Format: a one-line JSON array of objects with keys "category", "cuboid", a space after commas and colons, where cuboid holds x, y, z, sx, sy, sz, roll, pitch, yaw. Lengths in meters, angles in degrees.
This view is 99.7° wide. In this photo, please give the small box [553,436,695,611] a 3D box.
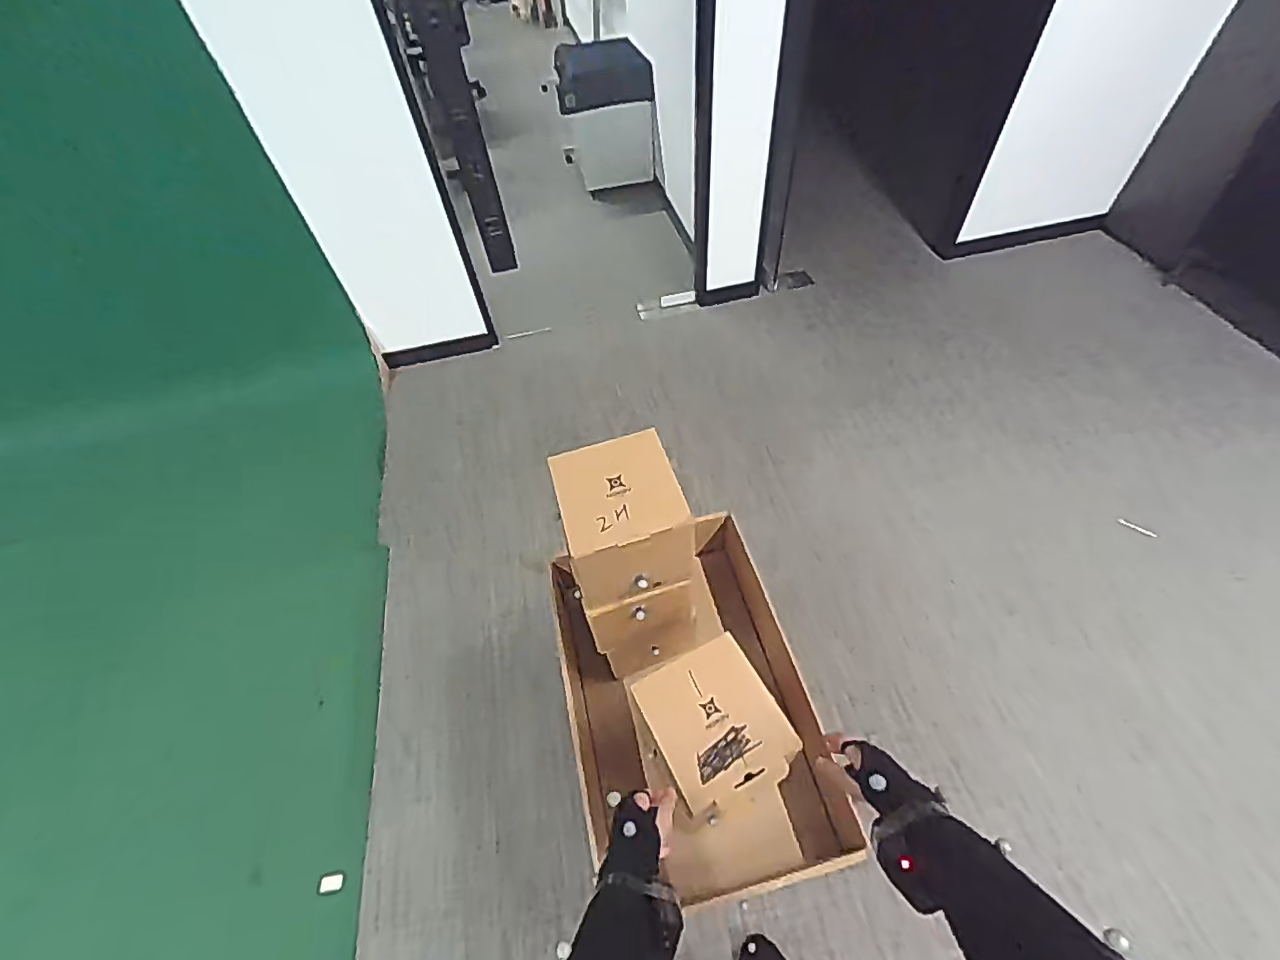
[{"category": "small box", "cuboid": [-0.022, 0.067, 0.808, 0.168, 0.176, 0.179, -16, 54, -5]}]

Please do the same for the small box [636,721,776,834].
[{"category": "small box", "cuboid": [0.109, 0.466, 0.908, 0.168, 0.176, 0.179, -23, 54, -13]}]

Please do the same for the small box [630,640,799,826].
[{"category": "small box", "cuboid": [0.100, 0.368, 0.777, 0.168, 0.176, 0.179, -23, 53, -14]}]

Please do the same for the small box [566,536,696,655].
[{"category": "small box", "cuboid": [-0.013, 0.176, 0.933, 0.179, 0.176, 0.168, -18, 53, -7]}]
